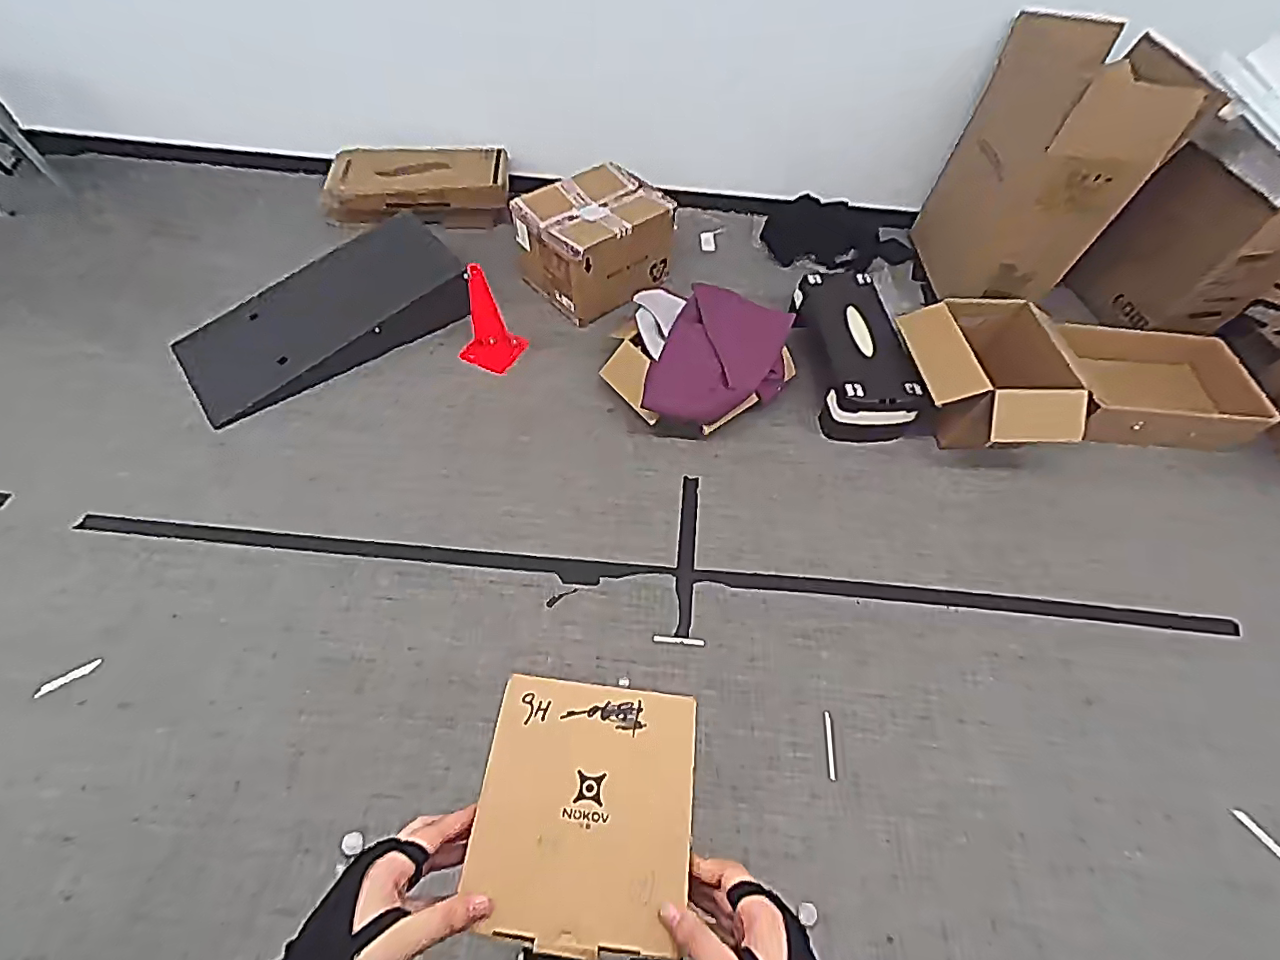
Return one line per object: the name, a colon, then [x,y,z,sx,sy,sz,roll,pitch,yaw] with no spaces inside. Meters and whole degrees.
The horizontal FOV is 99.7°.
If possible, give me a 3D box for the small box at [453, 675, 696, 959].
small box: [-0.046,0.294,0.487,0.168,0.176,0.179,7,57,0]
